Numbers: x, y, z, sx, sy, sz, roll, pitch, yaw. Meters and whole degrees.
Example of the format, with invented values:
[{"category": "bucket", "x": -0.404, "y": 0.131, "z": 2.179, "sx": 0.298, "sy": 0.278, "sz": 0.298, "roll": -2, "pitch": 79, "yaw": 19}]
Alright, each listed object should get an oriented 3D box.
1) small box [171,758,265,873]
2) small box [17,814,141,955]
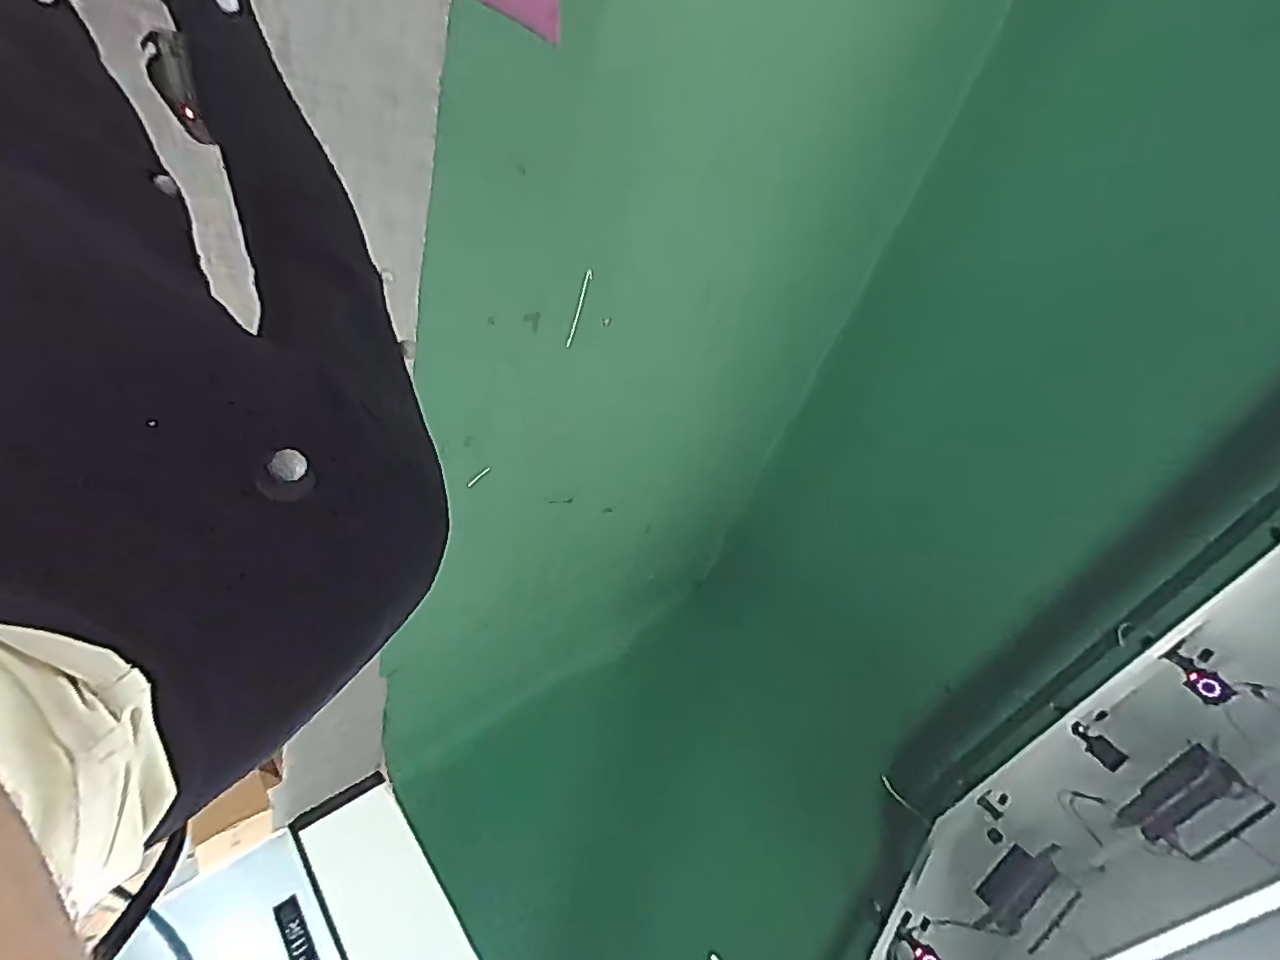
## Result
[{"category": "small box", "x": -1.131, "y": 0.893, "z": 1.453, "sx": 0.168, "sy": 0.176, "sz": 0.179, "roll": -14, "pitch": 137, "yaw": -47}, {"category": "small box", "x": -1.309, "y": 0.934, "z": 1.265, "sx": 0.179, "sy": 0.176, "sz": 0.168, "roll": -12, "pitch": 133, "yaw": -47}]
